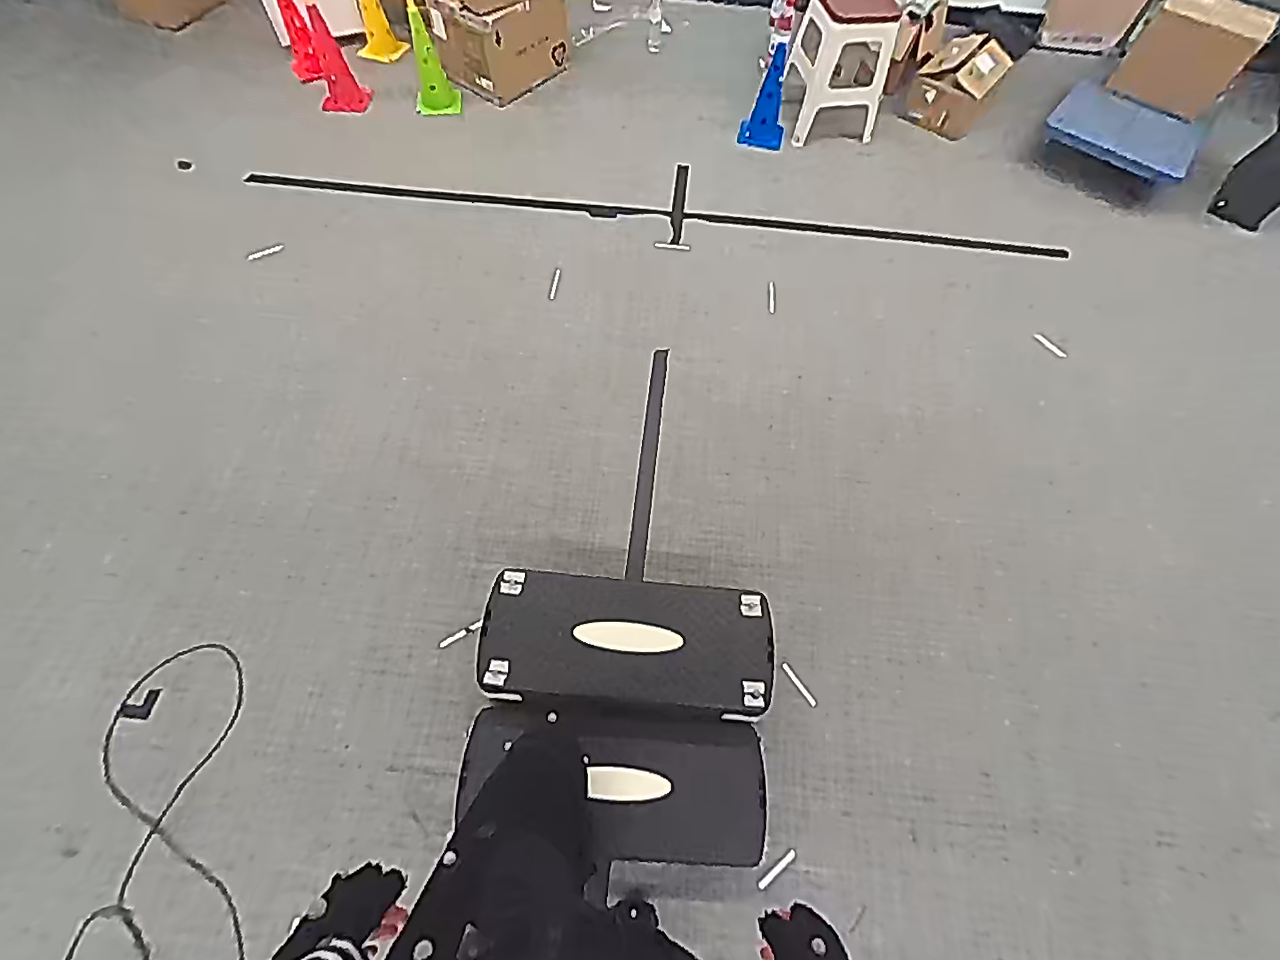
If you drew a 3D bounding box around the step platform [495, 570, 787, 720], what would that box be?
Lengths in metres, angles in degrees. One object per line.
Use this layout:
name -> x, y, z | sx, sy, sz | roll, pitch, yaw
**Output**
step platform -> 0.003, 0.398, 1.307 | 0.684, 0.204, 0.286 | 5, 62, -1
